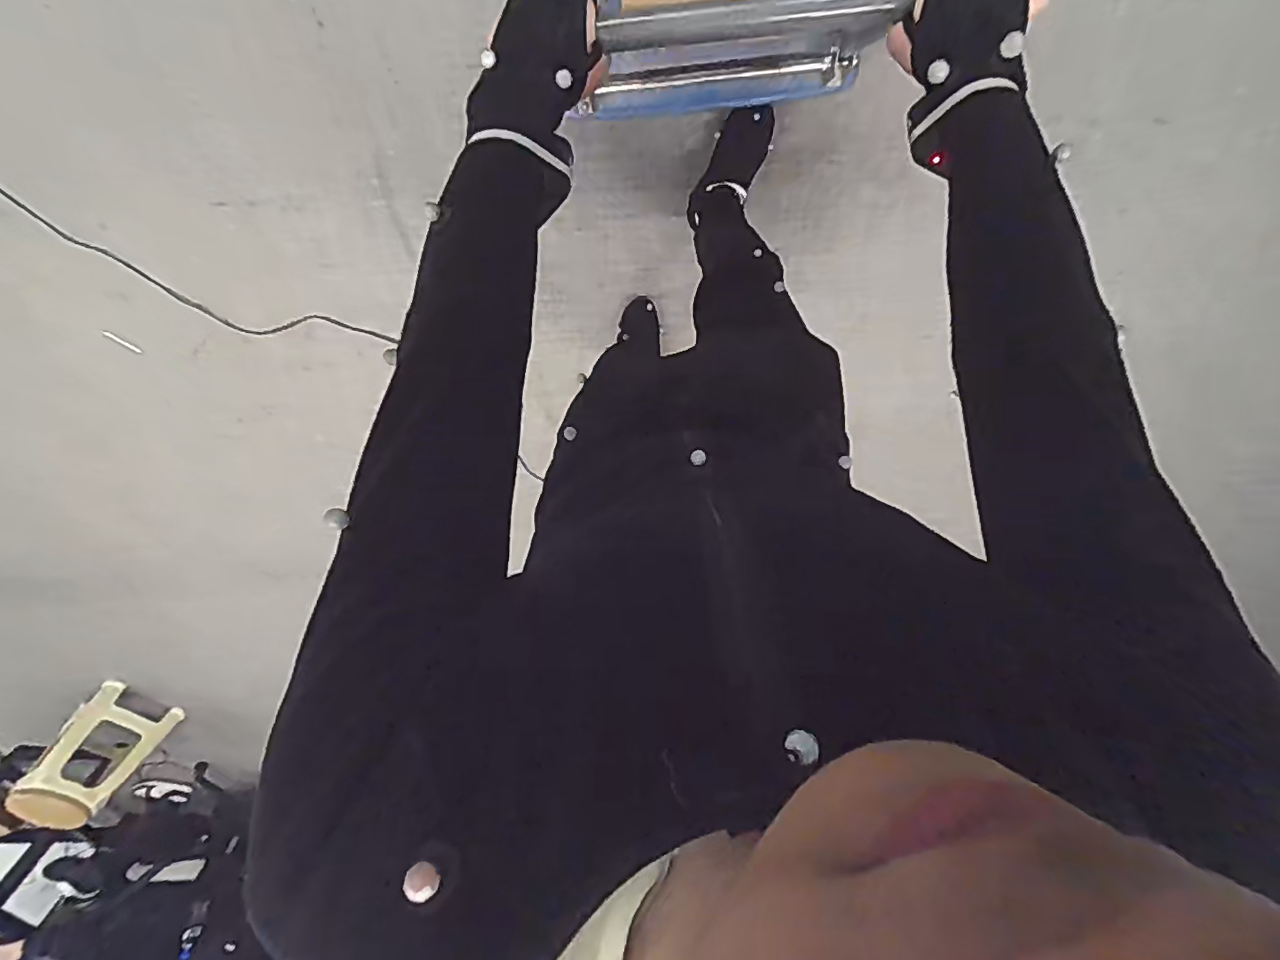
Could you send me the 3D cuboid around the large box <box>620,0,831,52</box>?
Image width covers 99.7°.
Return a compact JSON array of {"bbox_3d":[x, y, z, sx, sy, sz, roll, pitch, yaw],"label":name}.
[{"bbox_3d":[0.114,-0.904,0.778,0.320,0.320,0.408,-4,123,4],"label":"large box"}]
